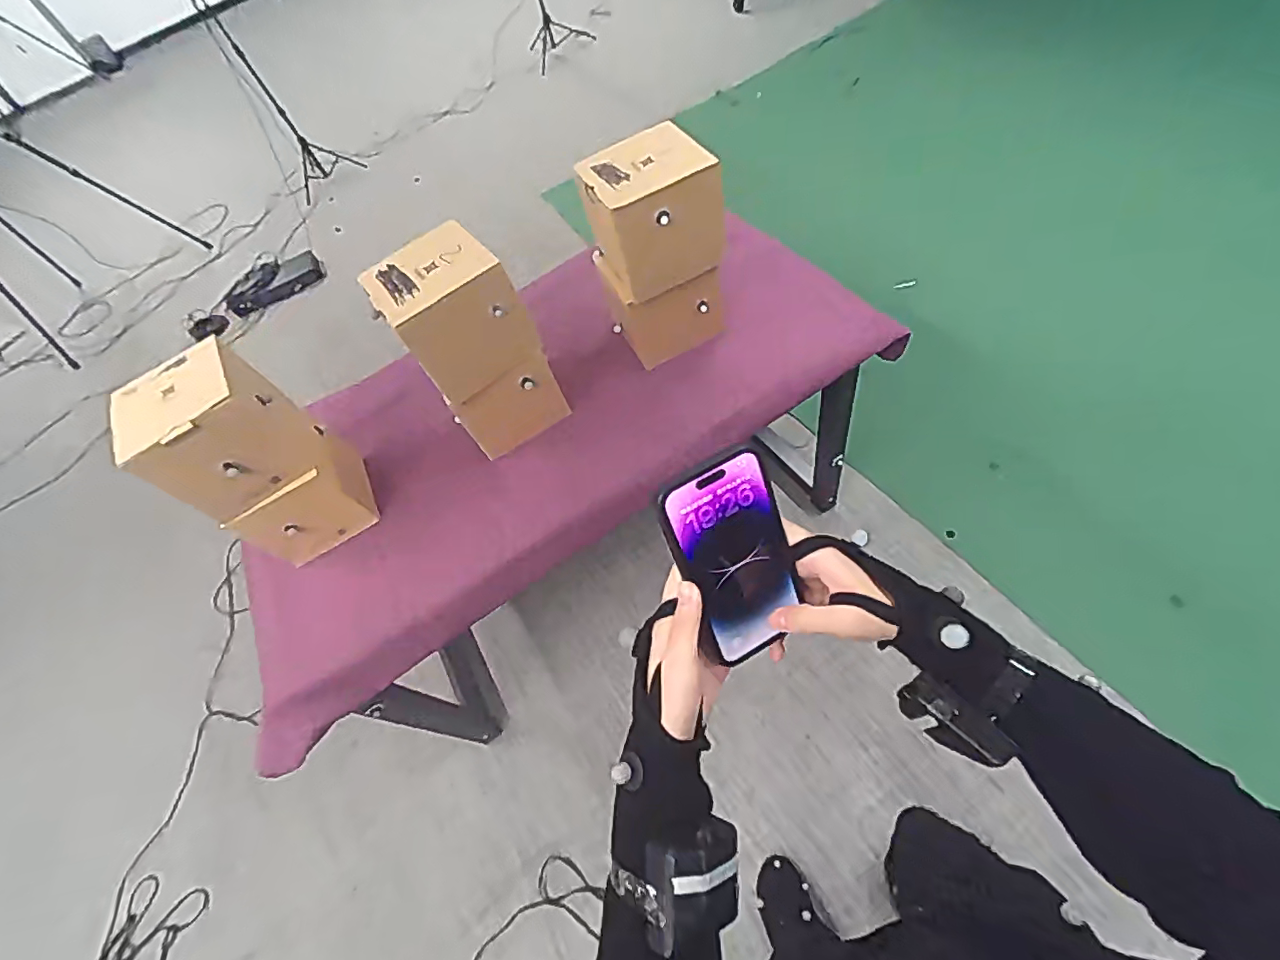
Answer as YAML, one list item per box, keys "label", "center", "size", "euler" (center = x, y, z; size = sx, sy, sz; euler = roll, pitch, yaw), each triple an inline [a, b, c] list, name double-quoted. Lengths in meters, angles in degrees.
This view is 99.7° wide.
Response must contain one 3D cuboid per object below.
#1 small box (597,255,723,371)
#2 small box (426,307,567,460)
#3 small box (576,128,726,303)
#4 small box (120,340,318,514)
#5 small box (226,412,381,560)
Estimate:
- label: "small box"
  center: [0.044, -0.340, 1.013]
  size: [0.179, 0.176, 0.168]
  euler: [-27, 55, -2]
- label: "small box"
  center: [-0.250, -0.171, 0.984]
  size: [0.179, 0.176, 0.168]
  euler: [-32, 56, -6]
- label: "small box"
  center: [0.023, -0.419, 0.871]
  size: [0.179, 0.176, 0.168]
  euler: [-27, 55, -3]
- label: "small box"
  center: [-0.630, -0.070, 0.824]
  size: [0.168, 0.176, 0.179]
  euler: [-35, 57, -9]
- label: "small box"
  center: [-0.590, 0.021, 0.955]
  size: [0.168, 0.176, 0.179]
  euler: [-31, 56, -6]
